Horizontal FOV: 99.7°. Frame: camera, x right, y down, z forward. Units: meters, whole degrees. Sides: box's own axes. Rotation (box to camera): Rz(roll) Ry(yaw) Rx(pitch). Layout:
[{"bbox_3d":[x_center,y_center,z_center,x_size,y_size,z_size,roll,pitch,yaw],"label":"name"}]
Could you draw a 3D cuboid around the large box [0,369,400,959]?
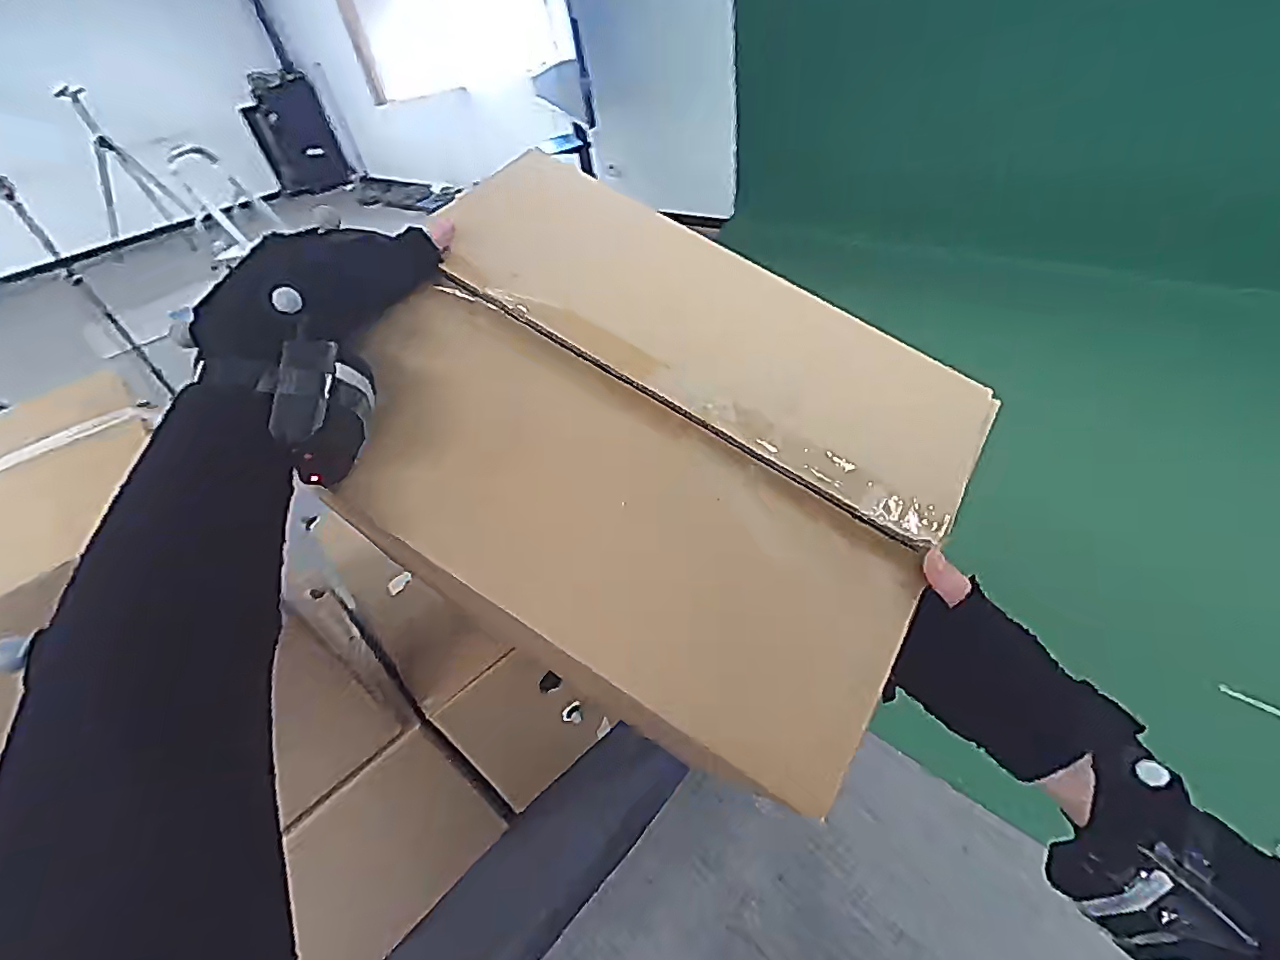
[{"bbox_3d":[-0.492,0.173,0.427,0.408,0.320,0.320,-39,47,-27],"label":"large box"}]
